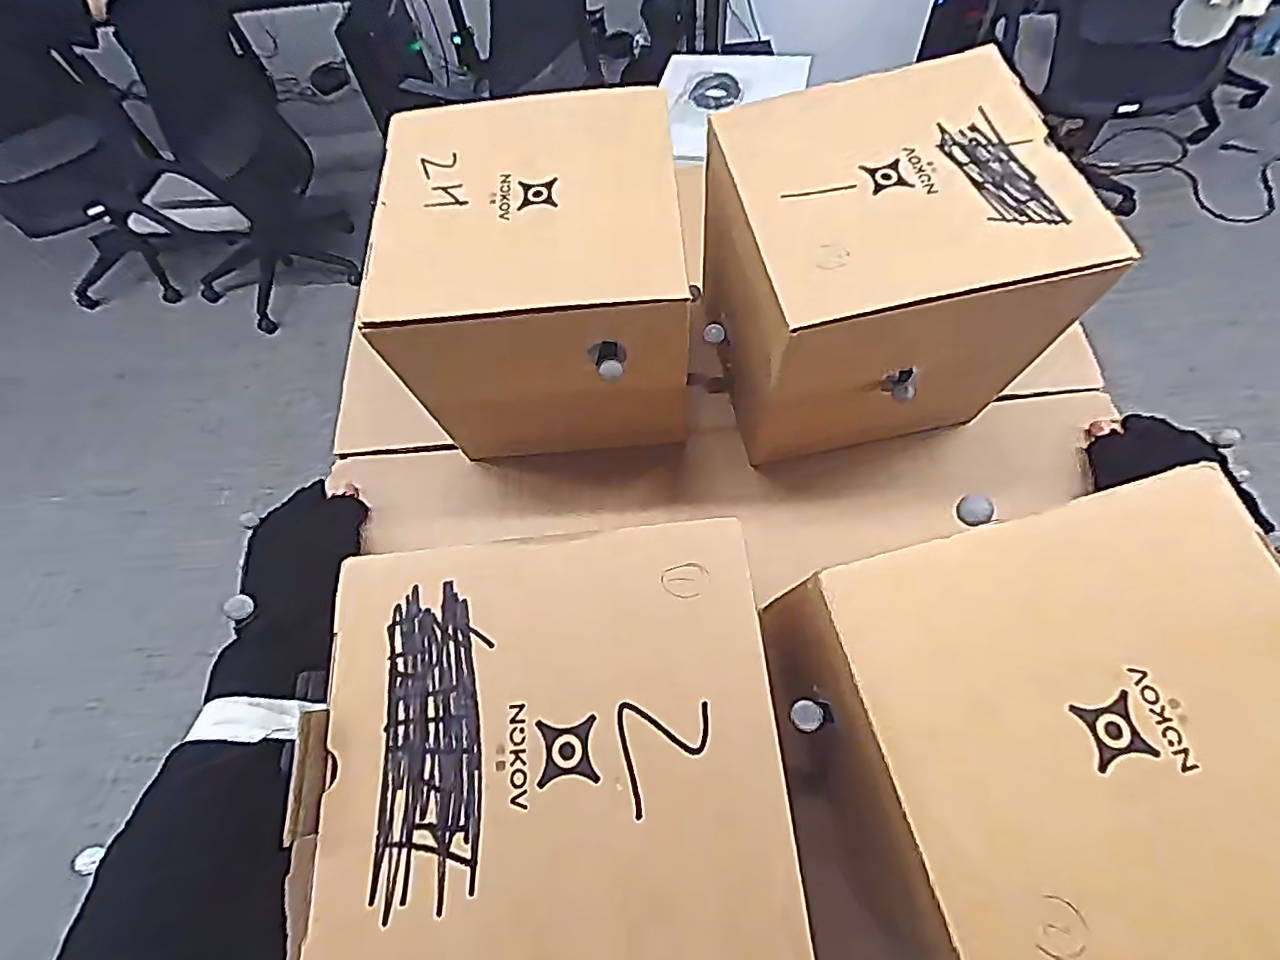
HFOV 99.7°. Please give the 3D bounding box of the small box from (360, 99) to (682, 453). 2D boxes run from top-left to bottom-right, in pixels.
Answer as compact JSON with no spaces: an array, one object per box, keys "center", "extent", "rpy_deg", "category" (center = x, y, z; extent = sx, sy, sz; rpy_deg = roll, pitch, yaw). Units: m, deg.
[{"center":[-0.063,-0.130,0.390],"extent":[0.179,0.176,0.168],"rpy_deg":[-4,67,3],"category":"small box"}]
